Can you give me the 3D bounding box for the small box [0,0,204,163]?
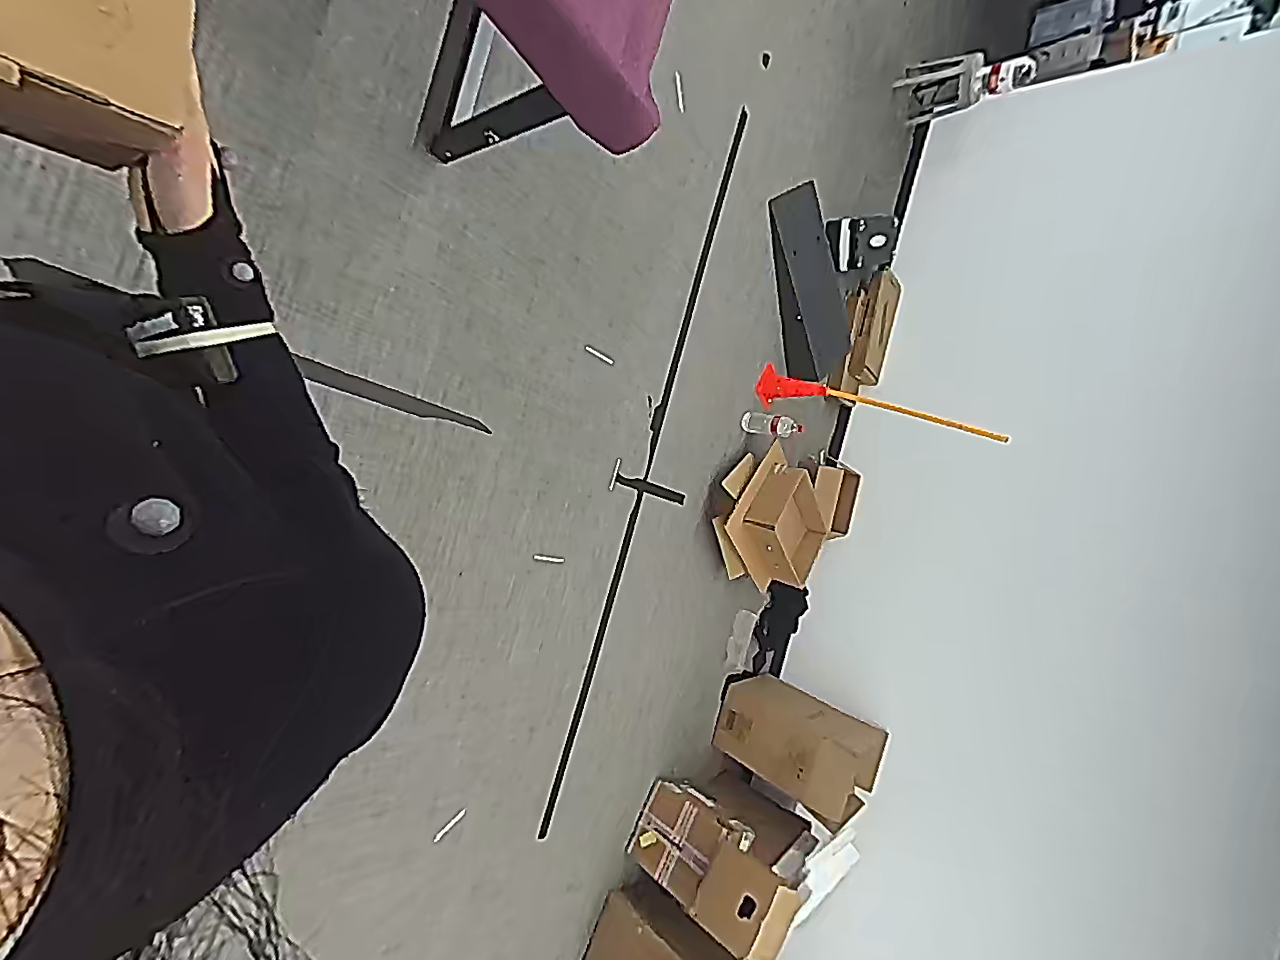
[{"bbox_3d":[-0.347,-0.290,0.276,0.168,0.176,0.179,0,103,-54],"label":"small box"}]
